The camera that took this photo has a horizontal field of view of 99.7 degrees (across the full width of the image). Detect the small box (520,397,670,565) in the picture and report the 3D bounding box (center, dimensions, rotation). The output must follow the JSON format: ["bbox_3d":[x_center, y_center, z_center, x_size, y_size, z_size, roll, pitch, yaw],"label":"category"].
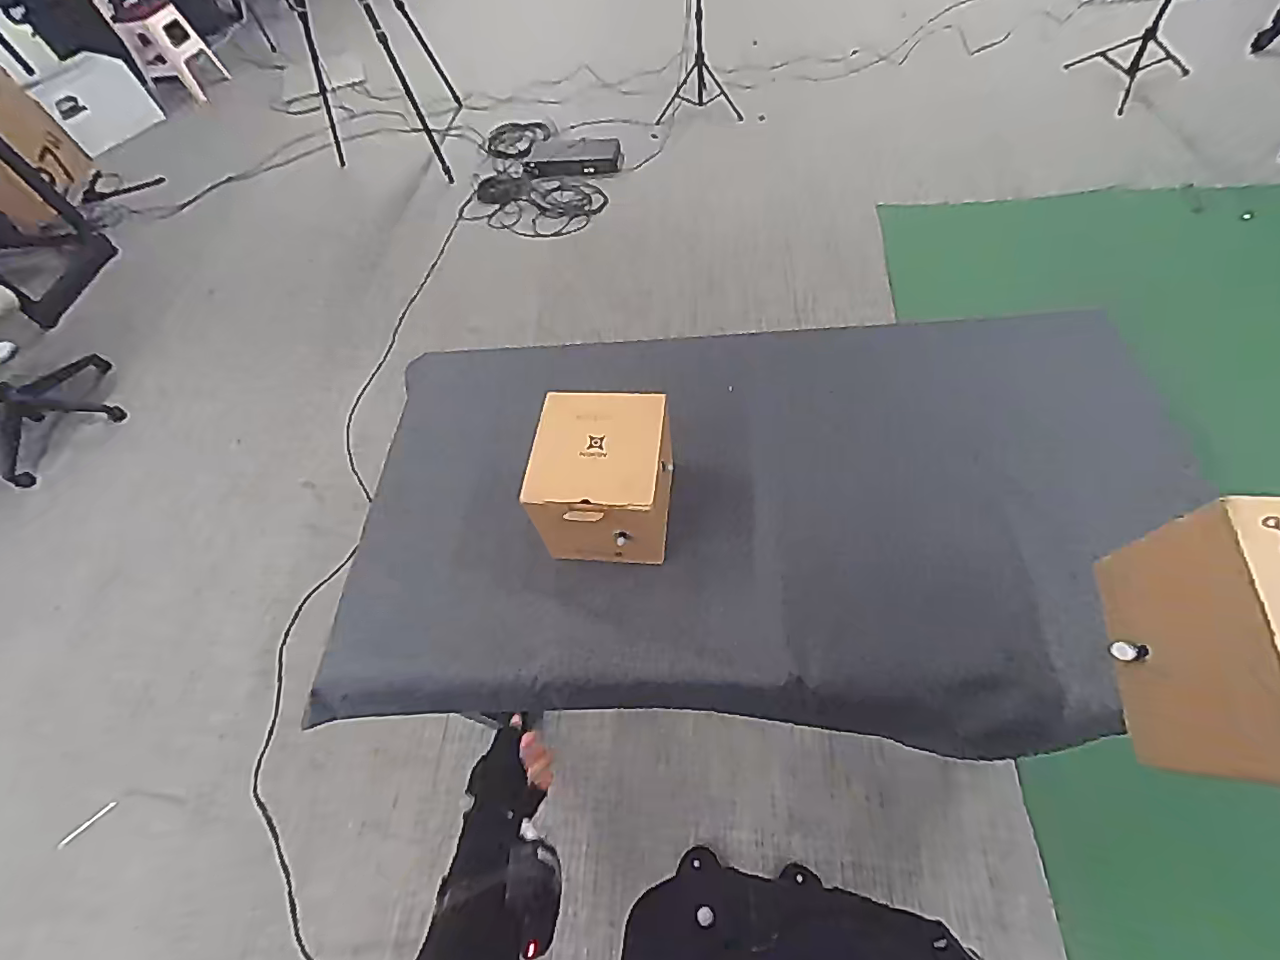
[{"bbox_3d":[-0.048,0.006,0.748,0.168,0.176,0.179,2,57,7],"label":"small box"}]
